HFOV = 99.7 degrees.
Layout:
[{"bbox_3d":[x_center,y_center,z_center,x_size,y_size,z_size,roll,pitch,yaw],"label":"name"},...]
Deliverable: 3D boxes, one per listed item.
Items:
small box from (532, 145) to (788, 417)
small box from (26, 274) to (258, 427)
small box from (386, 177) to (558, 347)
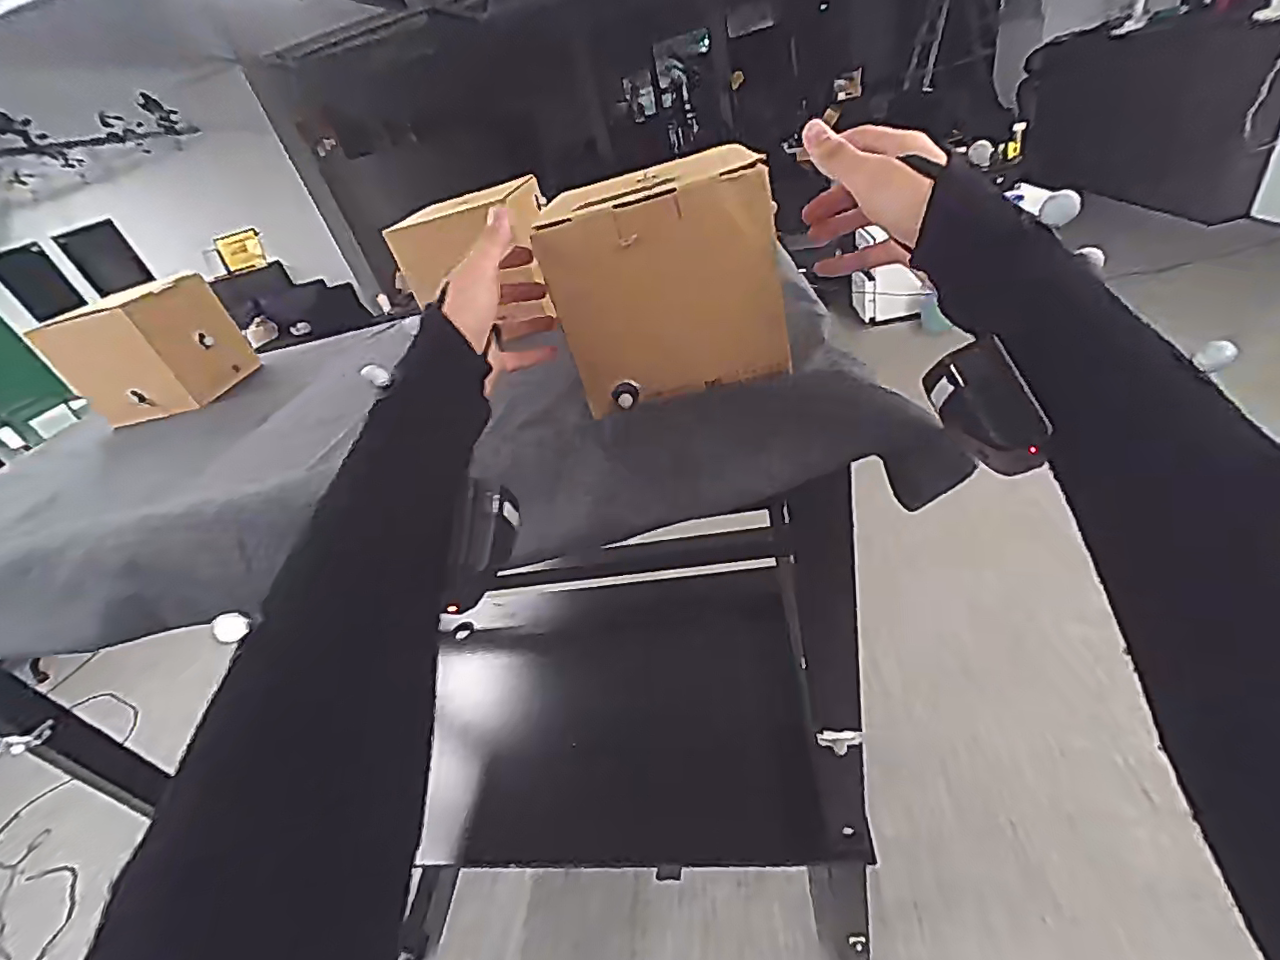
[{"bbox_3d":[0.026,-0.166,0.469,0.168,0.176,0.179,-11,34,9],"label":"small box"},{"bbox_3d":[-0.772,-0.205,0.866,0.179,0.176,0.168,-10,36,9],"label":"small box"},{"bbox_3d":[-0.212,-0.302,0.764,0.168,0.176,0.179,-10,35,11],"label":"small box"}]
